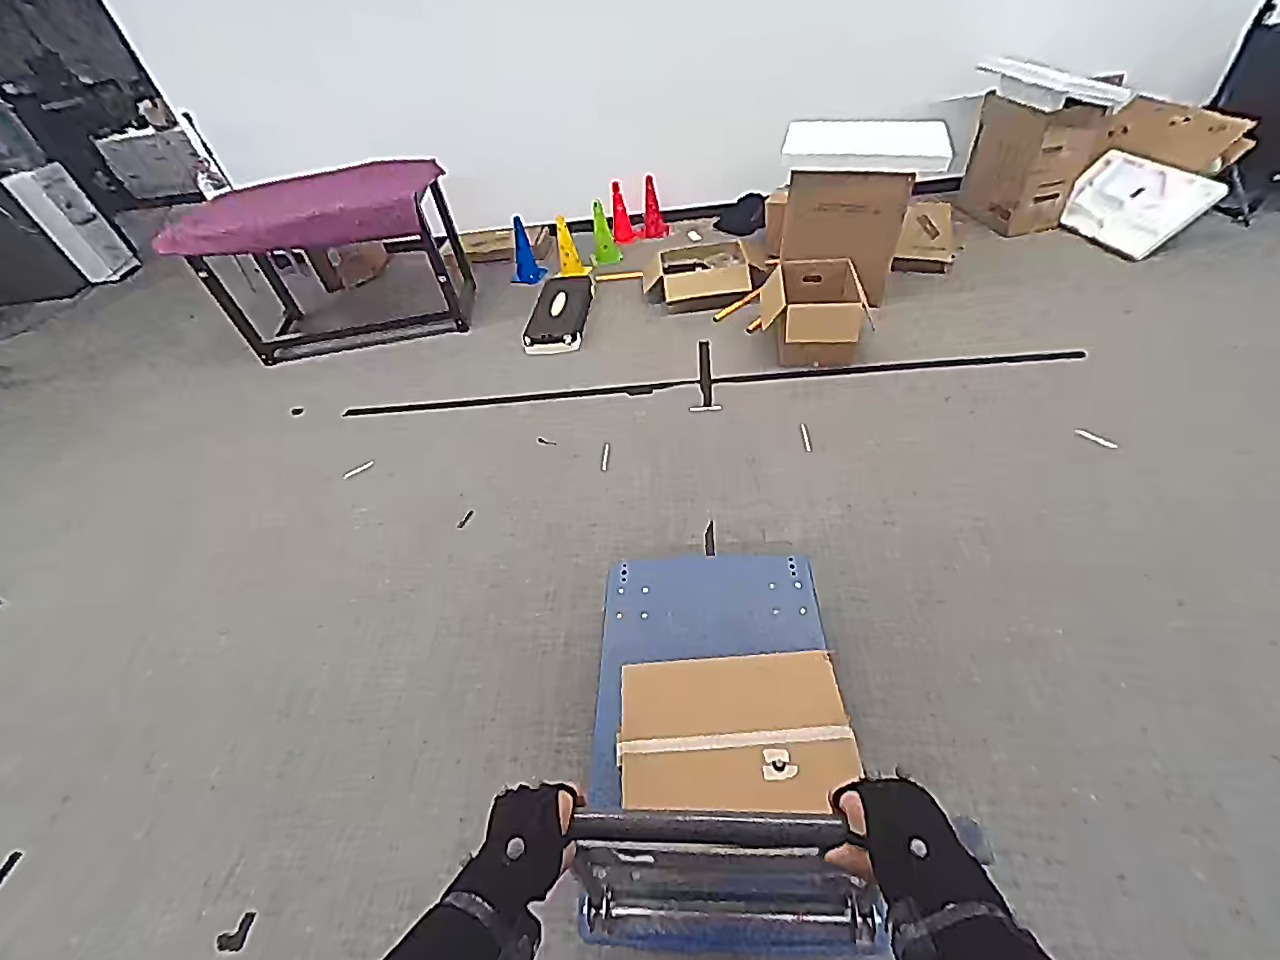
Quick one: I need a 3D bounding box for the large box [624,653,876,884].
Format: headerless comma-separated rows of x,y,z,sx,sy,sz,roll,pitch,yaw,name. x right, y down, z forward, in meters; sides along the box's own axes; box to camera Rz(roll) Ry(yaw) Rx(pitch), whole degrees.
0.184,0.571,1.067,0.408,0.320,0.320,-5,46,2,large box
